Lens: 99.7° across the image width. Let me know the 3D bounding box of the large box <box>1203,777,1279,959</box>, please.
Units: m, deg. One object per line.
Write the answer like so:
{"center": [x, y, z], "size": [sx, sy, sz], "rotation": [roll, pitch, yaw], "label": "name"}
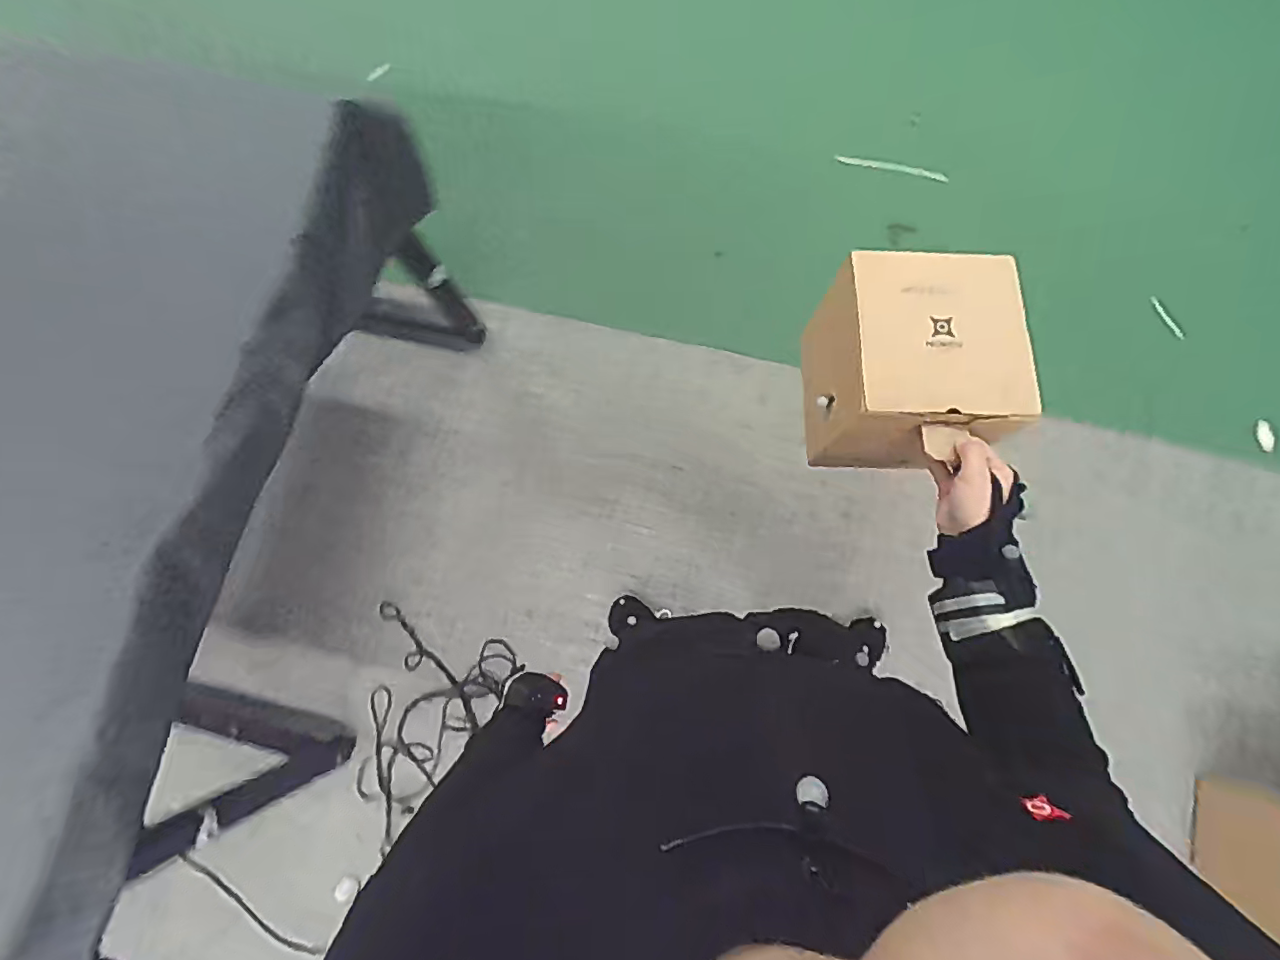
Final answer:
{"center": [1.362, 0.848, 1.014], "size": [0.320, 0.320, 0.408], "rotation": [11, 81, 7], "label": "large box"}
